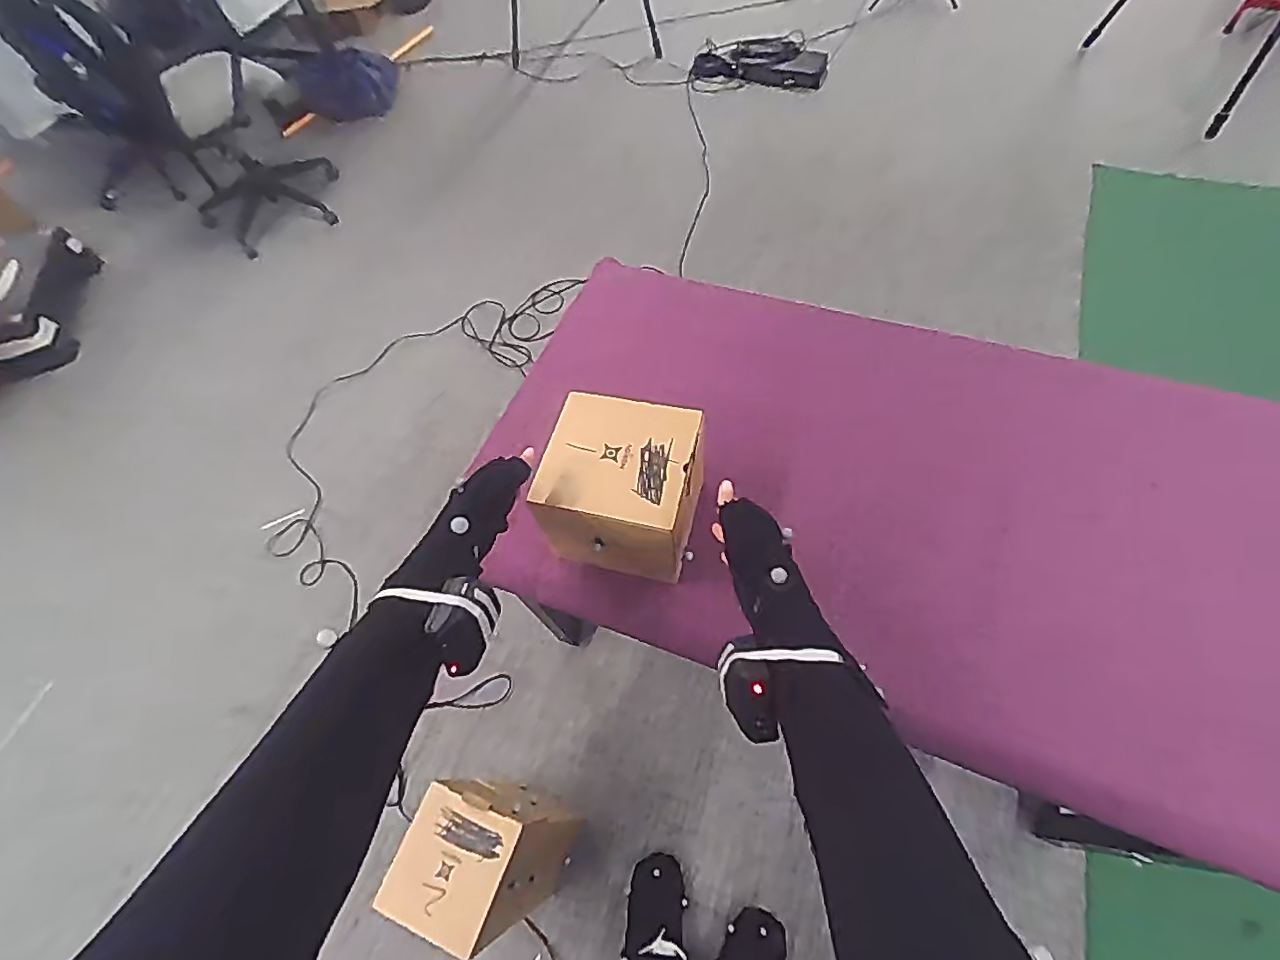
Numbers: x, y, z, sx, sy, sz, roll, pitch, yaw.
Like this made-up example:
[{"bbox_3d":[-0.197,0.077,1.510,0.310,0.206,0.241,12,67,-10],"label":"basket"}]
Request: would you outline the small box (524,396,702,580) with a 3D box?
[{"bbox_3d":[-0.022,0.017,0.707,0.179,0.176,0.168,11,61,12],"label":"small box"}]
